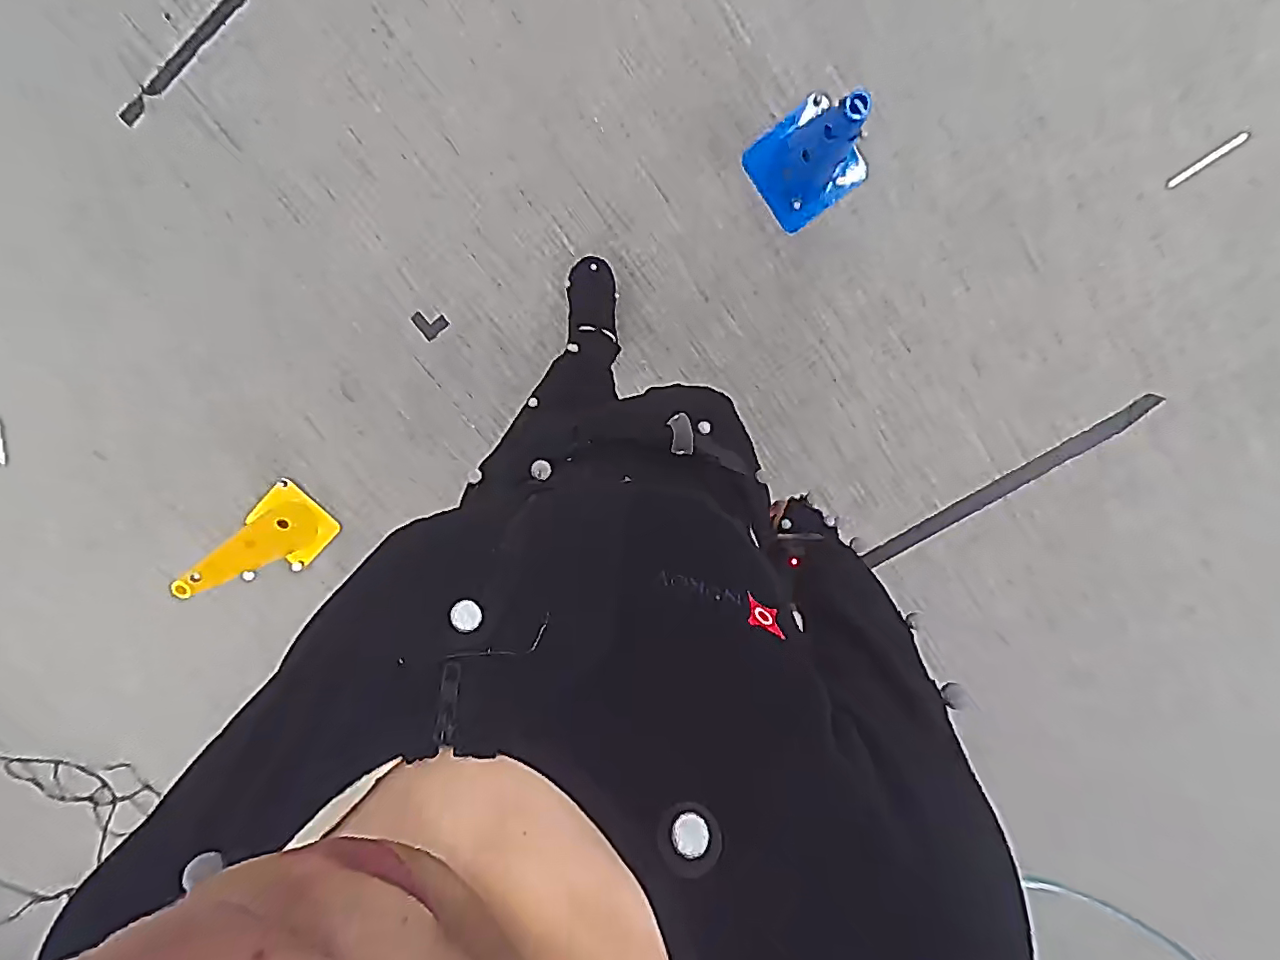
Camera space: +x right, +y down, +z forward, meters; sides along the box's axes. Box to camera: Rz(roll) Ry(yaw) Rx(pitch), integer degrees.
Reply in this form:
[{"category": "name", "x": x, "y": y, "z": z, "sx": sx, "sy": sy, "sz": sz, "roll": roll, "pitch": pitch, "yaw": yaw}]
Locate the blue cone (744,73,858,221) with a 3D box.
[{"category": "blue cone", "x": 0.321, "y": -0.619, "z": 0.967, "sx": 0.193, "sy": 0.380, "sz": 0.192, "roll": -34, "pitch": 101, "yaw": 13}]
